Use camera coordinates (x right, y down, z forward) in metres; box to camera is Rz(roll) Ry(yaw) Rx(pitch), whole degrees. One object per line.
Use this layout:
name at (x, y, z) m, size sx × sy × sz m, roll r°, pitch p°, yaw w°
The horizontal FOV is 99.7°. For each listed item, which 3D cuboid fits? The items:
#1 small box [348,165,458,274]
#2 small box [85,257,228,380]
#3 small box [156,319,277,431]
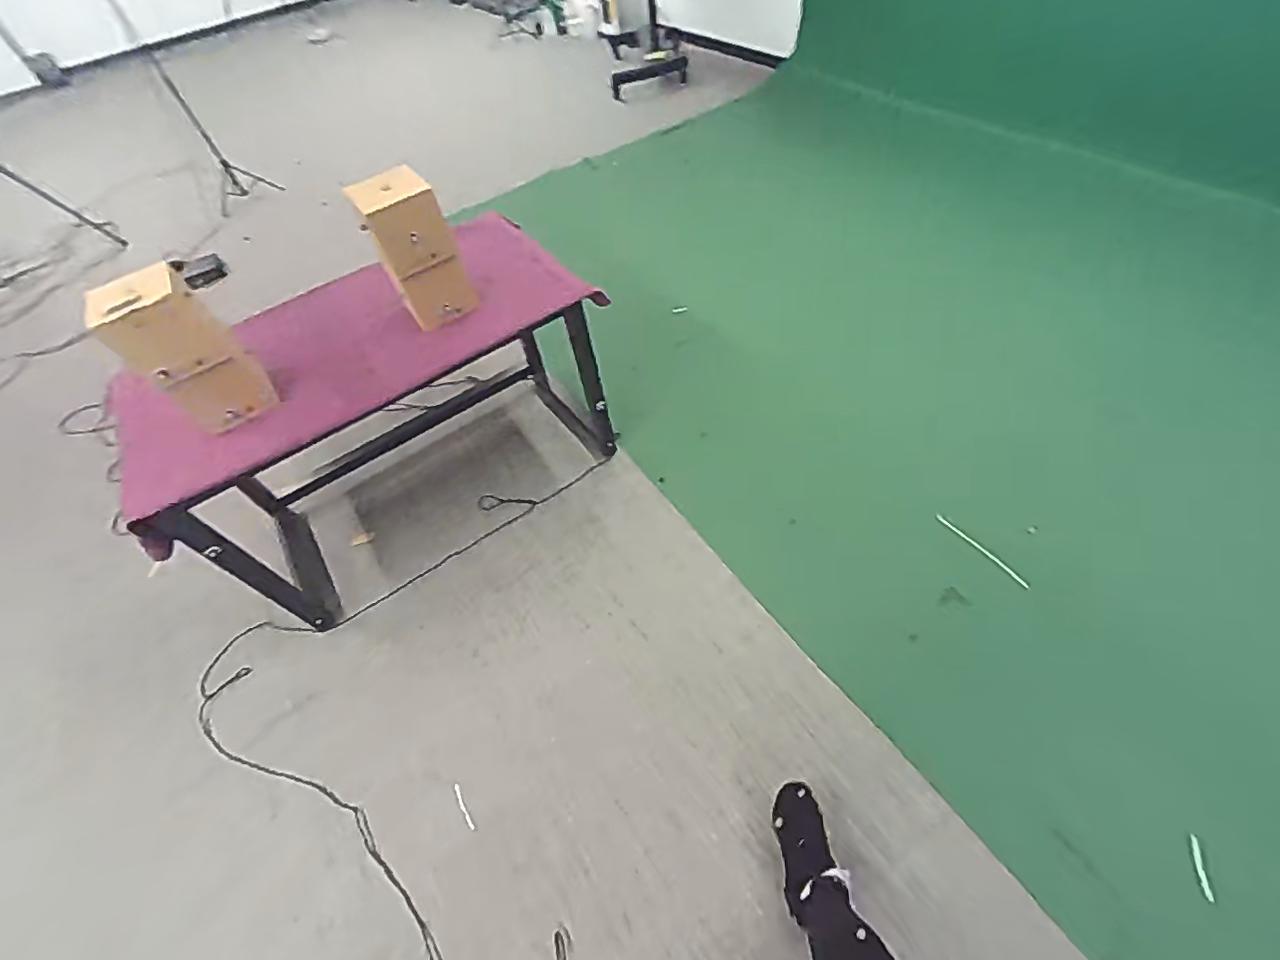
small box at (-0.571, -0.628, 1.319) m, size 0.168 × 0.176 × 0.179 m, roll -31°, pitch 55°, yaw -16°
small box at (-1.030, -0.341, 1.164) m, size 0.168 × 0.176 × 0.179 m, roll -32°, pitch 54°, yaw -16°
small box at (-1.017, -0.249, 1.299) m, size 0.168 × 0.176 × 0.179 m, roll -32°, pitch 56°, yaw -16°
